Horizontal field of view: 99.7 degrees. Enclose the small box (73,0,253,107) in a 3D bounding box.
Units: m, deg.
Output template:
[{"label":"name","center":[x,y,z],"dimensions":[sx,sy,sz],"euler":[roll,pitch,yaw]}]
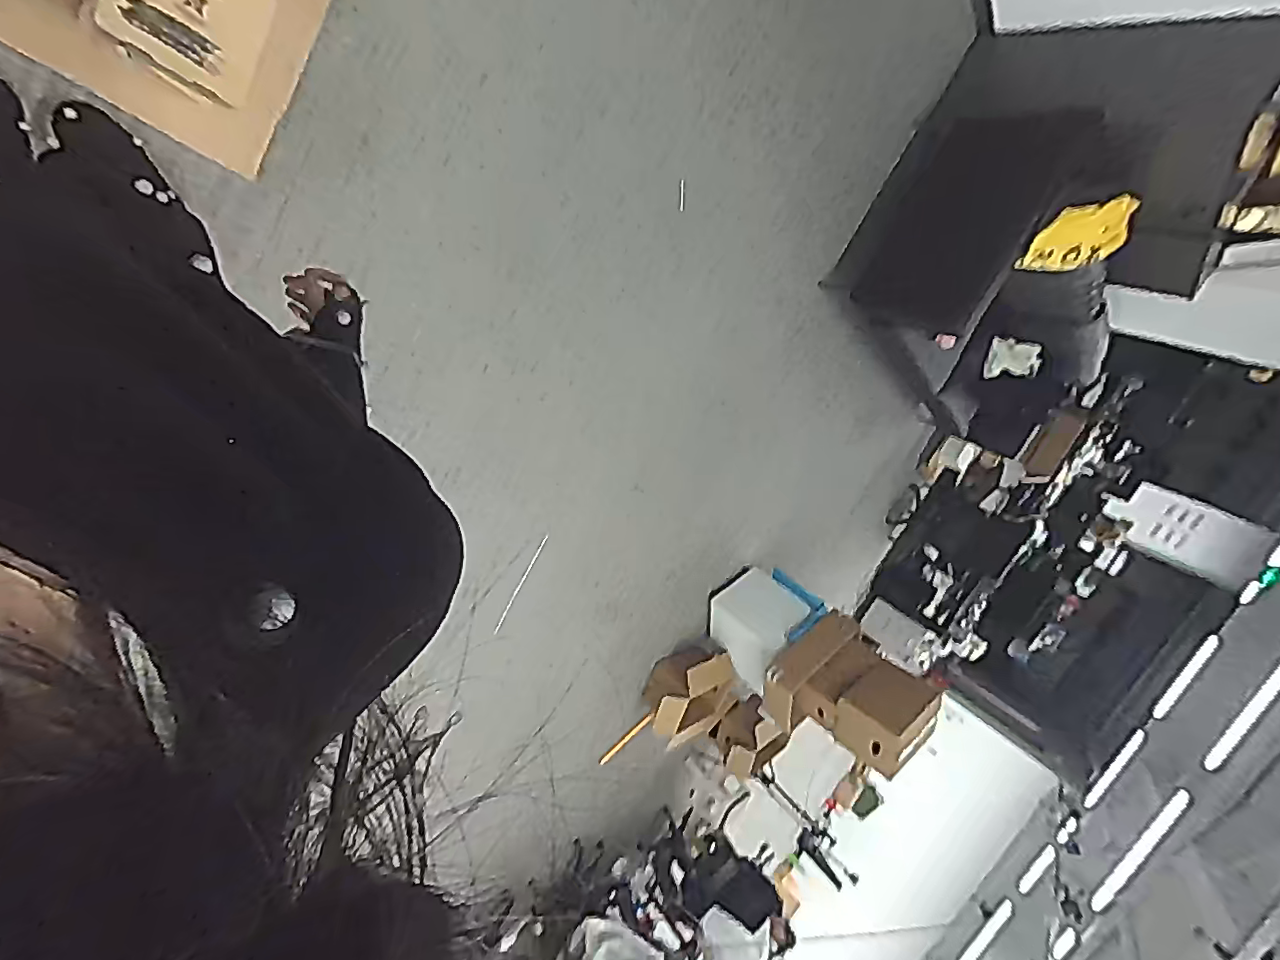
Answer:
[{"label":"small box","center":[-0.781,-0.757,0.890],"dimensions":[0.168,0.176,0.179],"euler":[27,96,-52]}]
